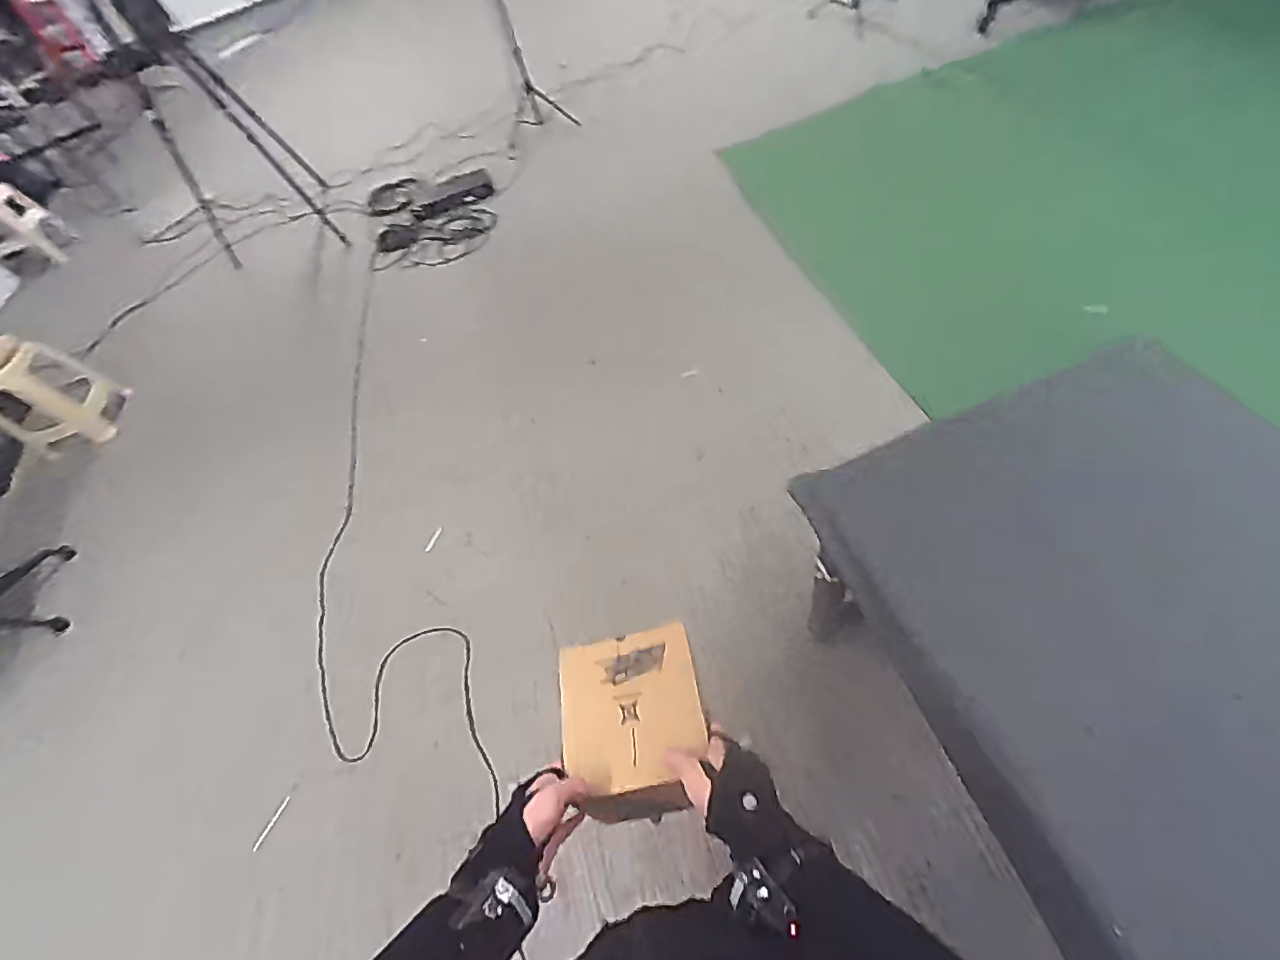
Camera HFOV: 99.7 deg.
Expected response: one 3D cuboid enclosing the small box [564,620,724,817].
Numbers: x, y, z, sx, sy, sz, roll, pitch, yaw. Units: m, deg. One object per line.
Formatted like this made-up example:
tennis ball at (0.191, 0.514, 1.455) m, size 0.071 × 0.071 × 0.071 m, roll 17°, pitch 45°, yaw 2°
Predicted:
small box at (0.006, 0.308, 0.694) m, size 0.168 × 0.176 × 0.179 m, roll -14°, pitch 50°, yaw 4°
